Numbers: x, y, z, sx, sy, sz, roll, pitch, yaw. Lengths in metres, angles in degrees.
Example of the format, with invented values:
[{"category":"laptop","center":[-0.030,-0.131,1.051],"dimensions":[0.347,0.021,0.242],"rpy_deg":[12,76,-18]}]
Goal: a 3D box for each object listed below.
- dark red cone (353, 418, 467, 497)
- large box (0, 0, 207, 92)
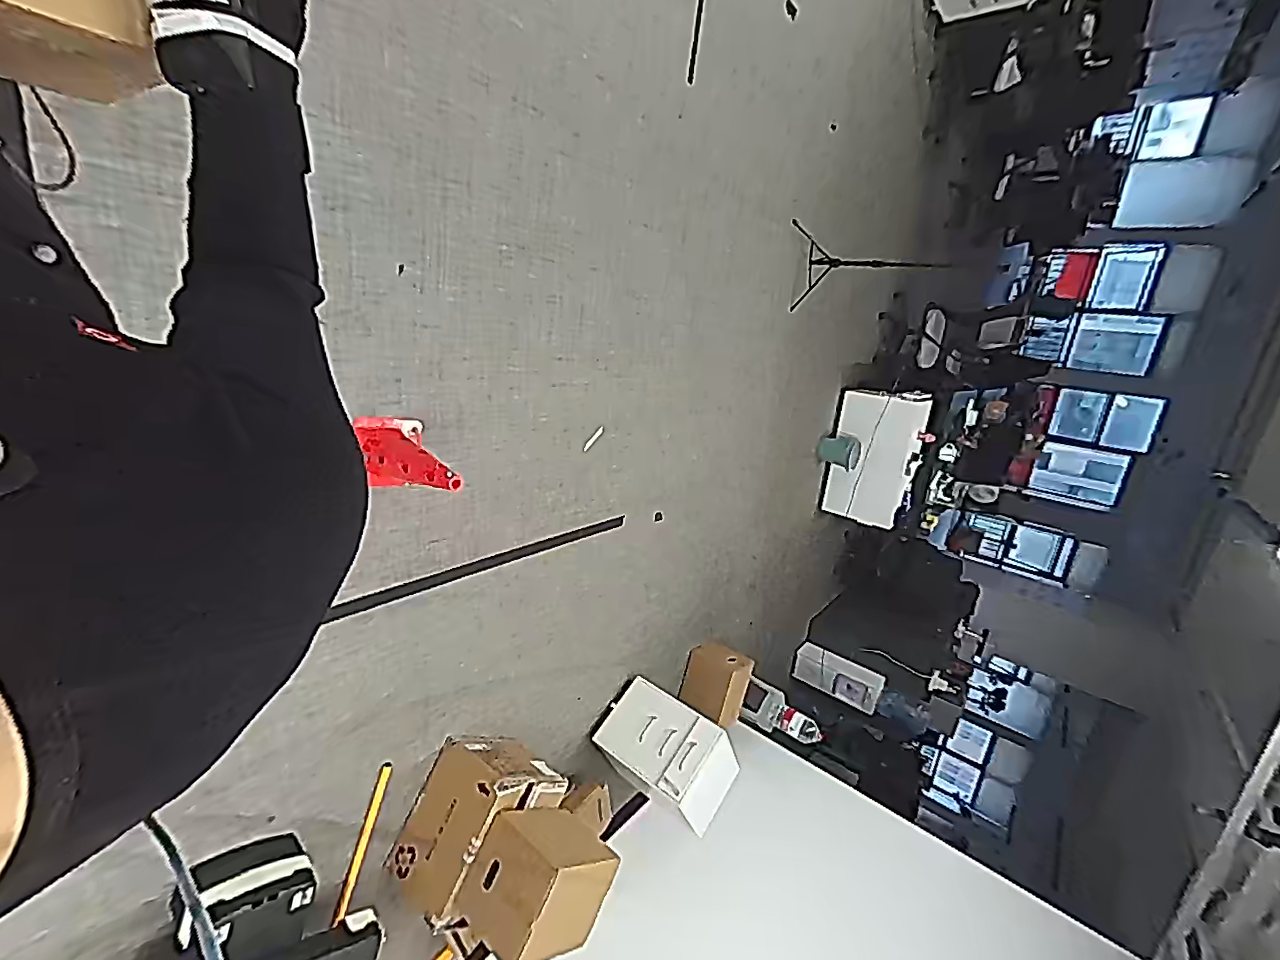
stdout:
[{"category":"dark red cone","center":[-0.580,-0.031,1.427],"dimensions":[0.201,0.394,0.202],"rpy_deg":[-4,108,-51]},{"category":"large box","center":[-0.522,-0.451,0.262],"dimensions":[0.408,0.320,0.320],"rpy_deg":[-15,120,-51]}]
